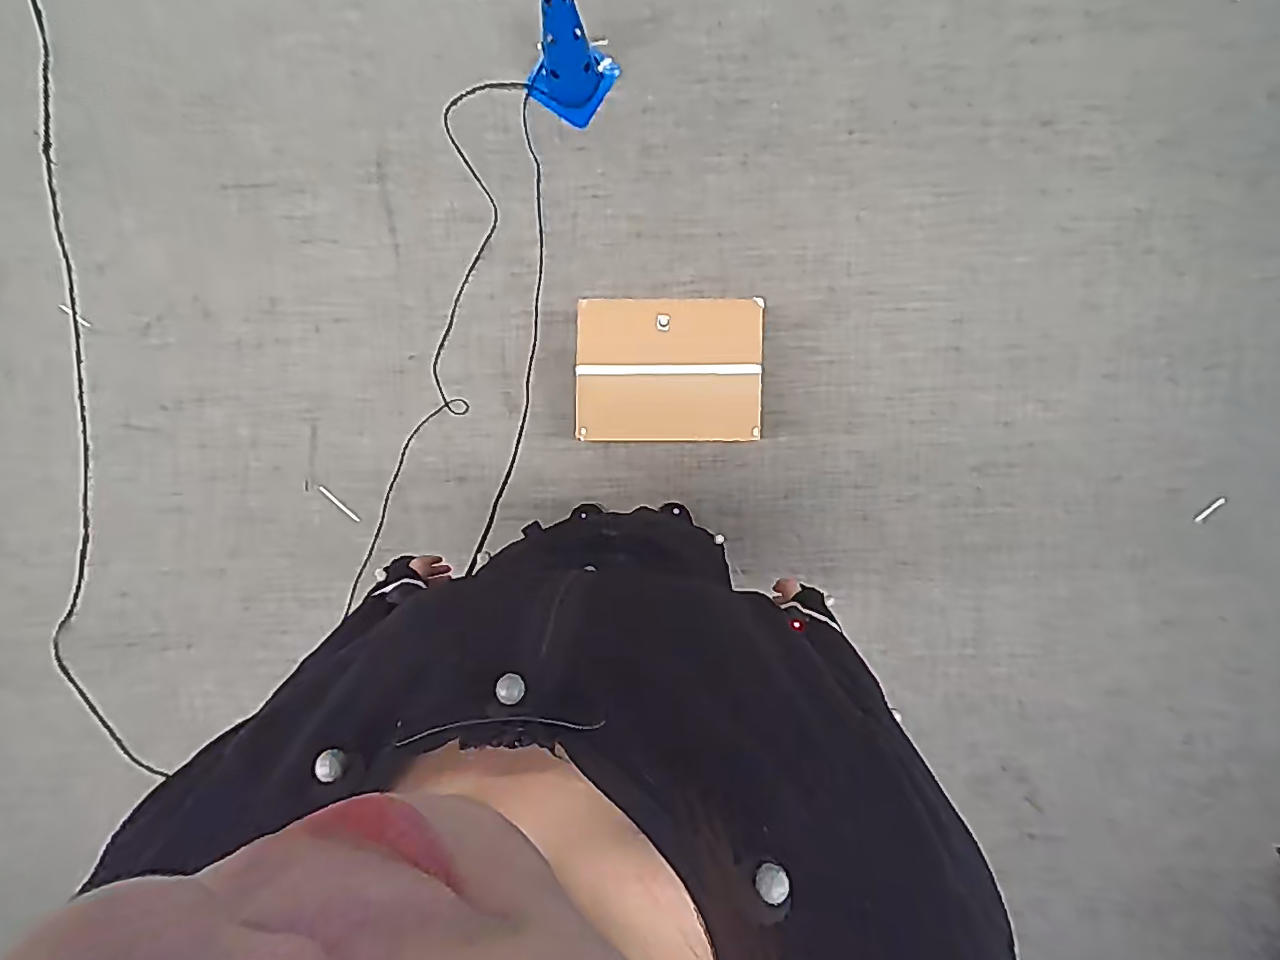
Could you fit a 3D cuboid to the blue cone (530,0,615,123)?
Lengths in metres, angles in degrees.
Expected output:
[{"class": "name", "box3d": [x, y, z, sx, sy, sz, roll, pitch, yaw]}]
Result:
[{"class": "blue cone", "box3d": [-0.176, -1.057, 1.258, 0.192, 0.380, 0.193, 31, 91, -2]}]
